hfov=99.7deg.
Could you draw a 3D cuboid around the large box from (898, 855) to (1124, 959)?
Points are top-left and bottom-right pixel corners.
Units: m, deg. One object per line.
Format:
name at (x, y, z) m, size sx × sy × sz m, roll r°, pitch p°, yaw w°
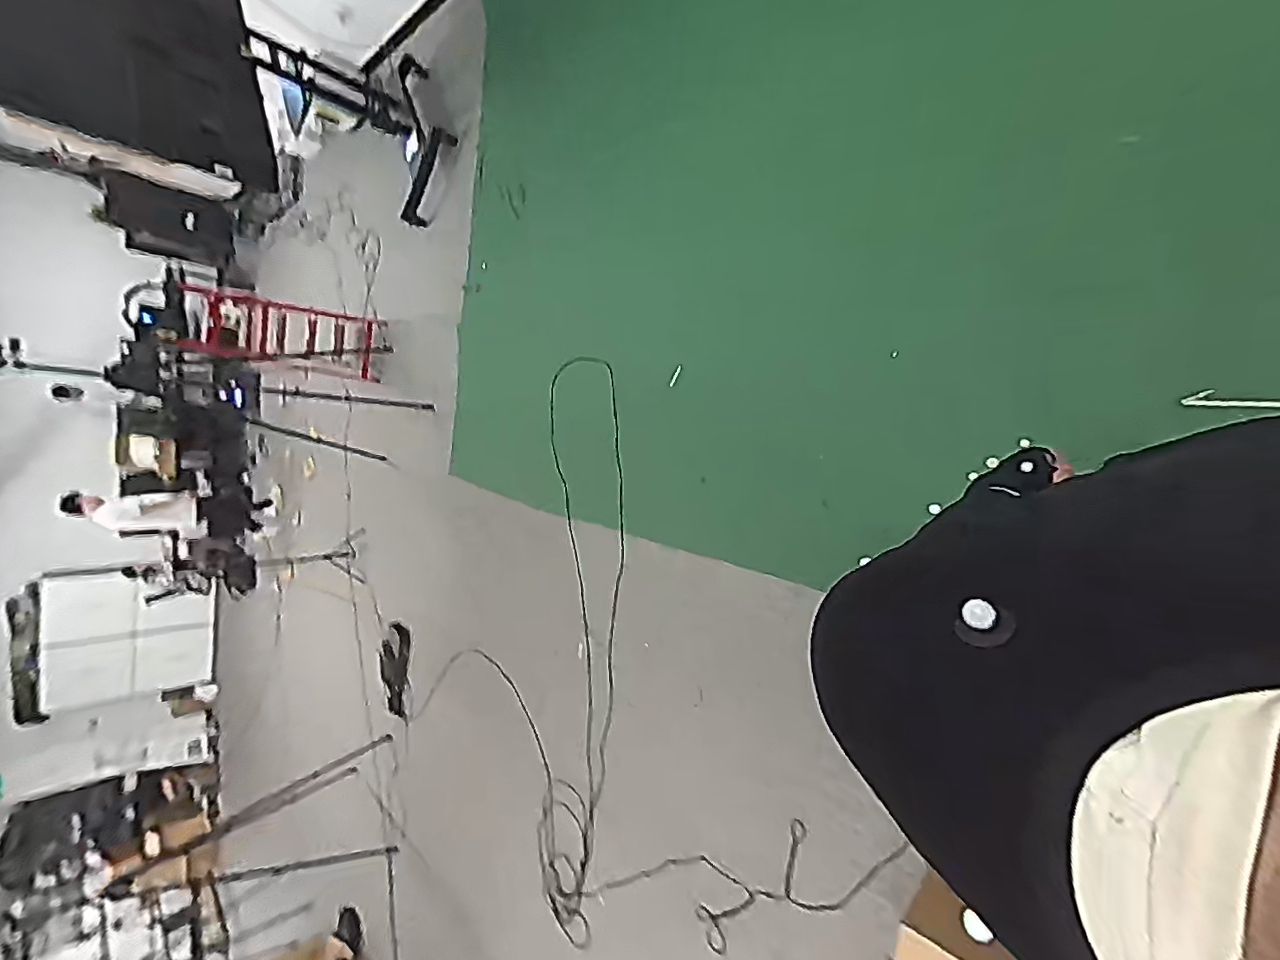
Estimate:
large box at (0.864, 1.214, 1.286) m, size 0.408 × 0.320 × 0.320 m, roll 10°, pitch 97°, yaw 42°
